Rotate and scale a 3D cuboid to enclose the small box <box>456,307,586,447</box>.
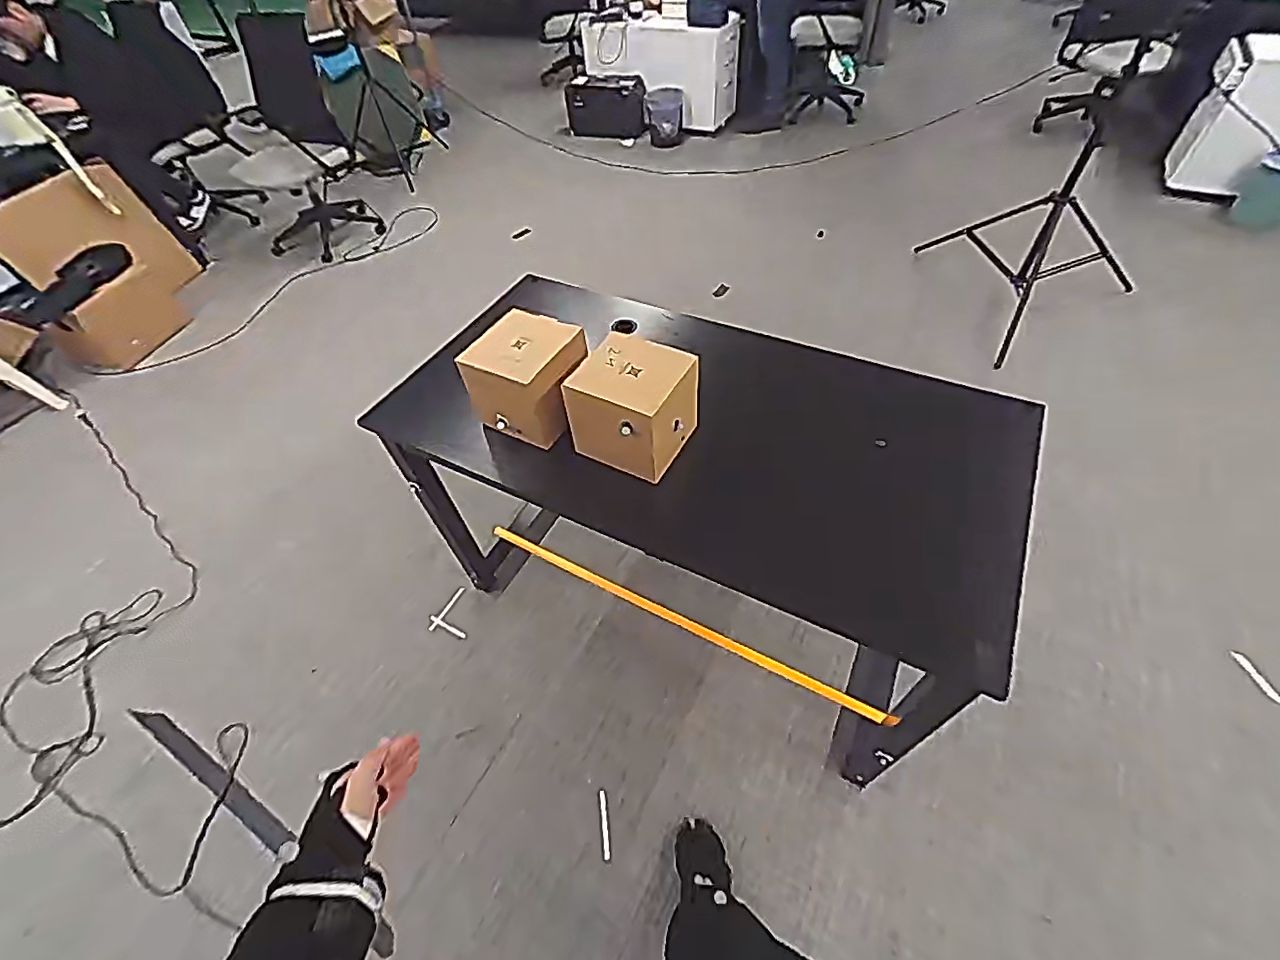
[{"bbox_3d":[-0.209,-0.195,1.028,0.168,0.176,0.179,20,56,21],"label":"small box"}]

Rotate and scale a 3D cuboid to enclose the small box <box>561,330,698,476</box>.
[{"bbox_3d":[-0.010,-0.132,0.957,0.179,0.176,0.168,22,56,21],"label":"small box"}]
